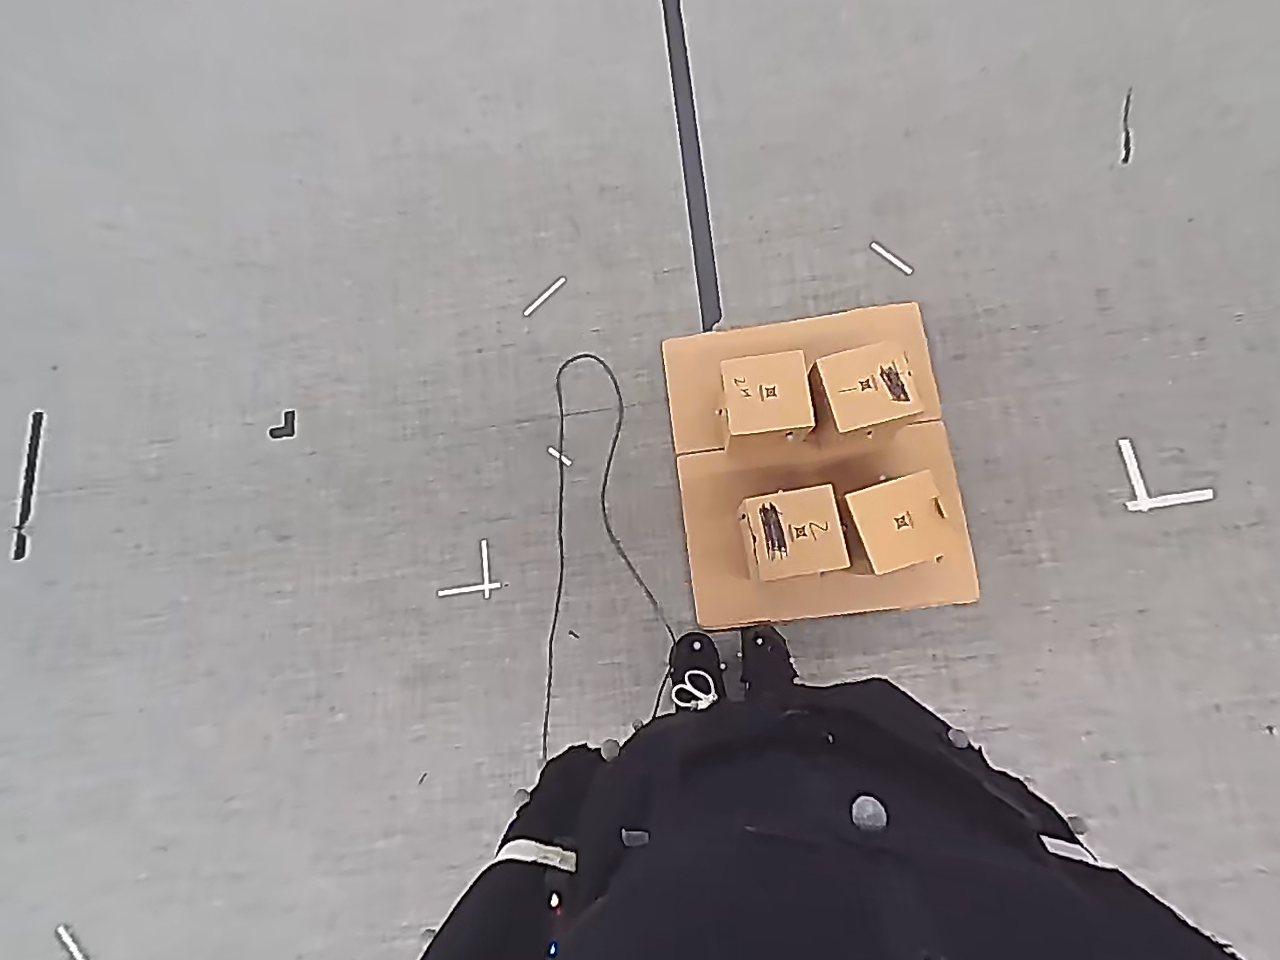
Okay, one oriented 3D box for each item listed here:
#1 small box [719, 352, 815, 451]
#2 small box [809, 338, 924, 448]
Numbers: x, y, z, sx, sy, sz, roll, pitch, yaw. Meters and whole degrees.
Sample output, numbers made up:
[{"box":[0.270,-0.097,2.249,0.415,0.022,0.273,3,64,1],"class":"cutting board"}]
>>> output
[{"box":[0.274,-0.167,1.198,0.179,0.176,0.168,-6,79,5],"class":"small box"},{"box":[0.475,-0.181,1.176,0.179,0.176,0.168,-15,79,5],"class":"small box"}]
